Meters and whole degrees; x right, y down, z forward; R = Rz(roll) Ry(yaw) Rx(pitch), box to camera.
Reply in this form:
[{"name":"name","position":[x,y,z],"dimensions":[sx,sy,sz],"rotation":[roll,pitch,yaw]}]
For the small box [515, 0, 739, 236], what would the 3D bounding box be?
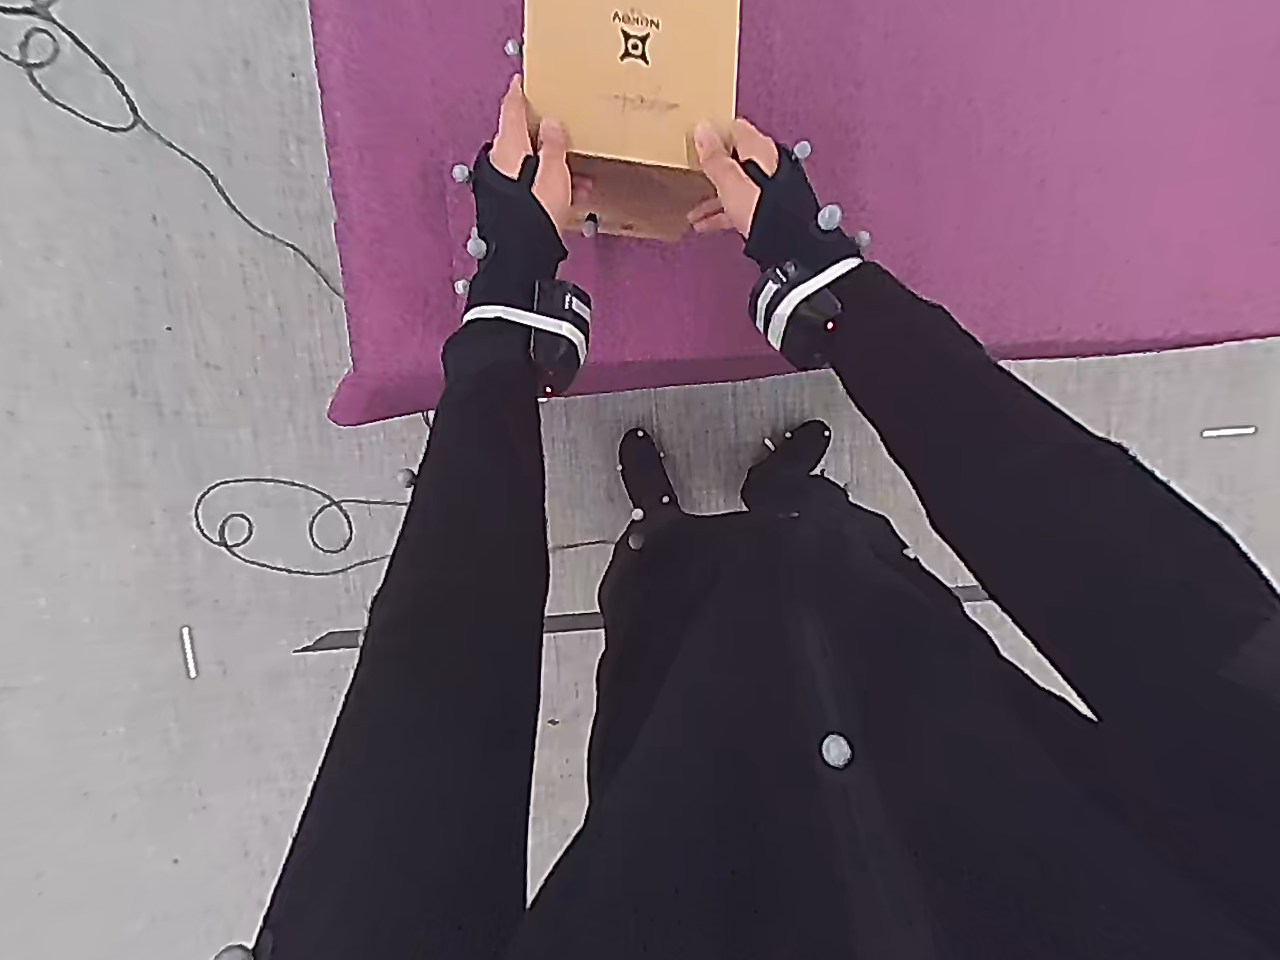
[{"name":"small box","position":[-0.023,-0.340,0.475],"dimensions":[0.168,0.176,0.179],"rotation":[1,96,-11]}]
